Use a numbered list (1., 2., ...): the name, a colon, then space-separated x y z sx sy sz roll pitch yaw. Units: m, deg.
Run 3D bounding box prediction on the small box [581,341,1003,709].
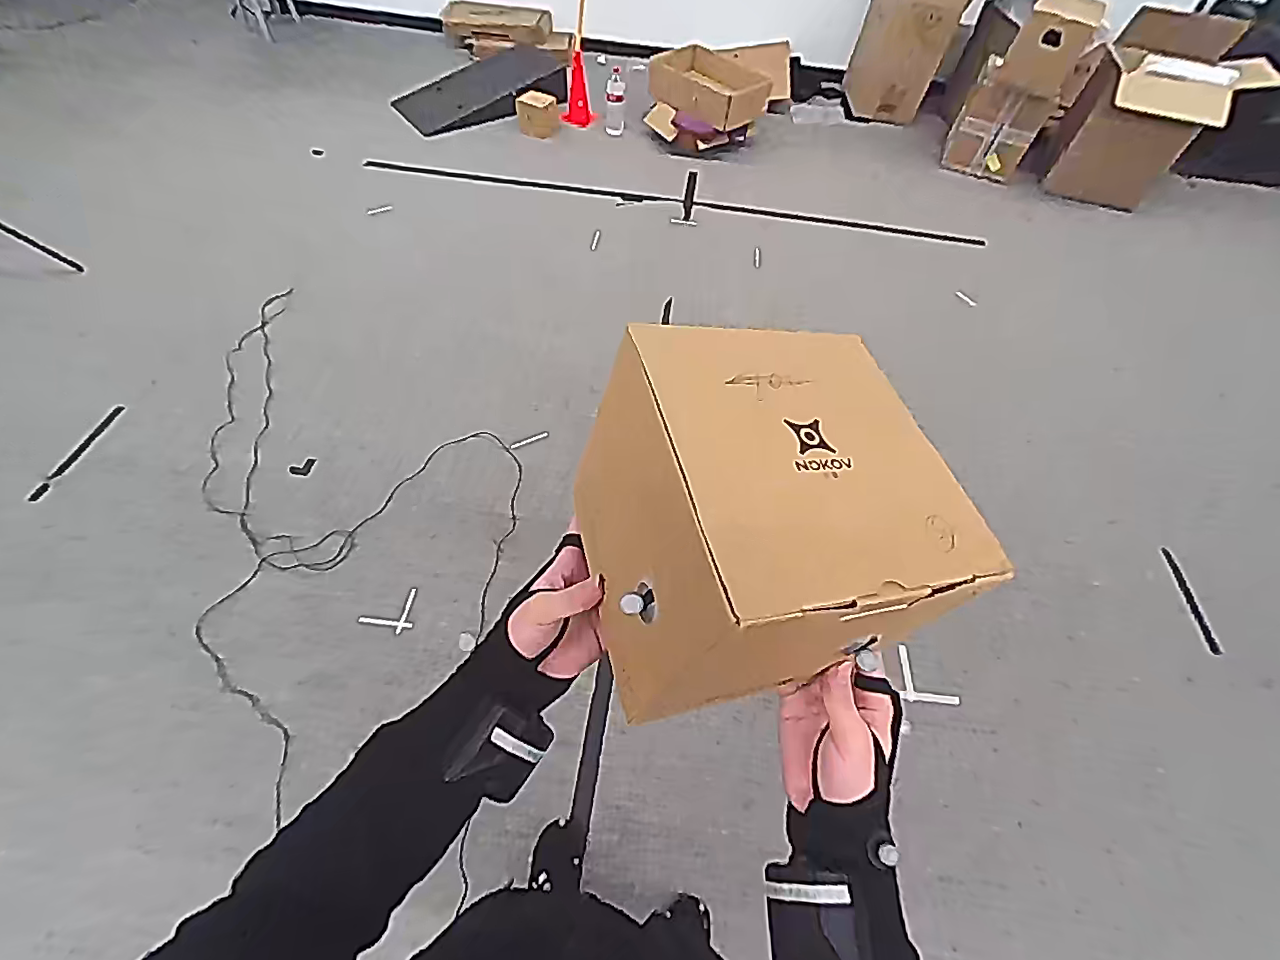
1. small box: 0.070 0.034 0.353 0.168 0.176 0.179 -4 55 -23
